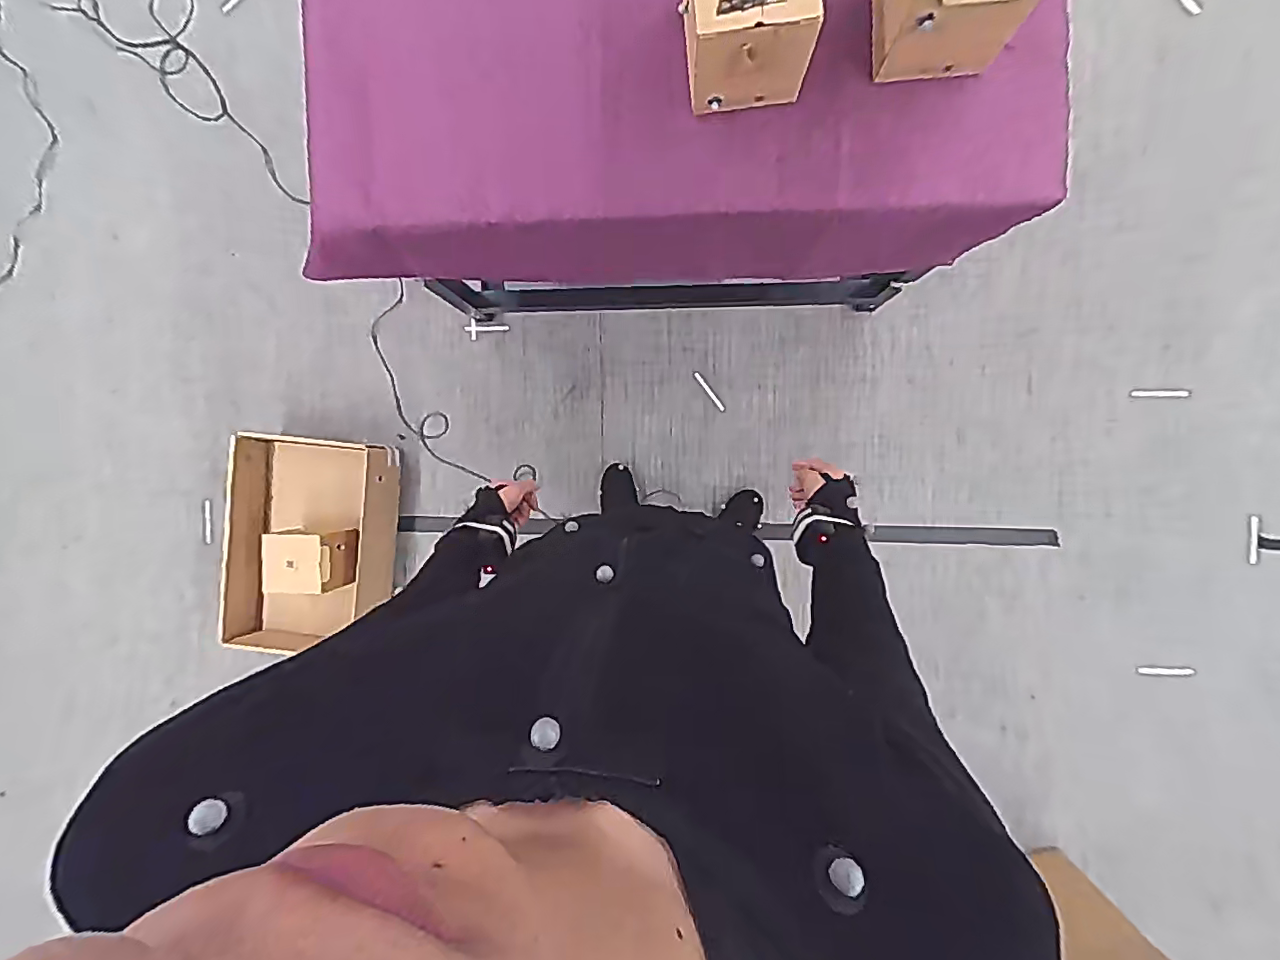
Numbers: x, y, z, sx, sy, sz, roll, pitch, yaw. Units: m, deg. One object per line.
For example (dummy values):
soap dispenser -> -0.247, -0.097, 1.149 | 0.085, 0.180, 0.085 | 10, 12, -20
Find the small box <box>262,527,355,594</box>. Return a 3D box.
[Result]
small box -> -0.950, 0.226, 1.562 | 0.179, 0.176, 0.168 | 1, 91, 3

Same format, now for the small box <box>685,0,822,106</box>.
small box -> 0.153, -0.674, 0.777 | 0.168, 0.176, 0.179 | -5, 91, 3
